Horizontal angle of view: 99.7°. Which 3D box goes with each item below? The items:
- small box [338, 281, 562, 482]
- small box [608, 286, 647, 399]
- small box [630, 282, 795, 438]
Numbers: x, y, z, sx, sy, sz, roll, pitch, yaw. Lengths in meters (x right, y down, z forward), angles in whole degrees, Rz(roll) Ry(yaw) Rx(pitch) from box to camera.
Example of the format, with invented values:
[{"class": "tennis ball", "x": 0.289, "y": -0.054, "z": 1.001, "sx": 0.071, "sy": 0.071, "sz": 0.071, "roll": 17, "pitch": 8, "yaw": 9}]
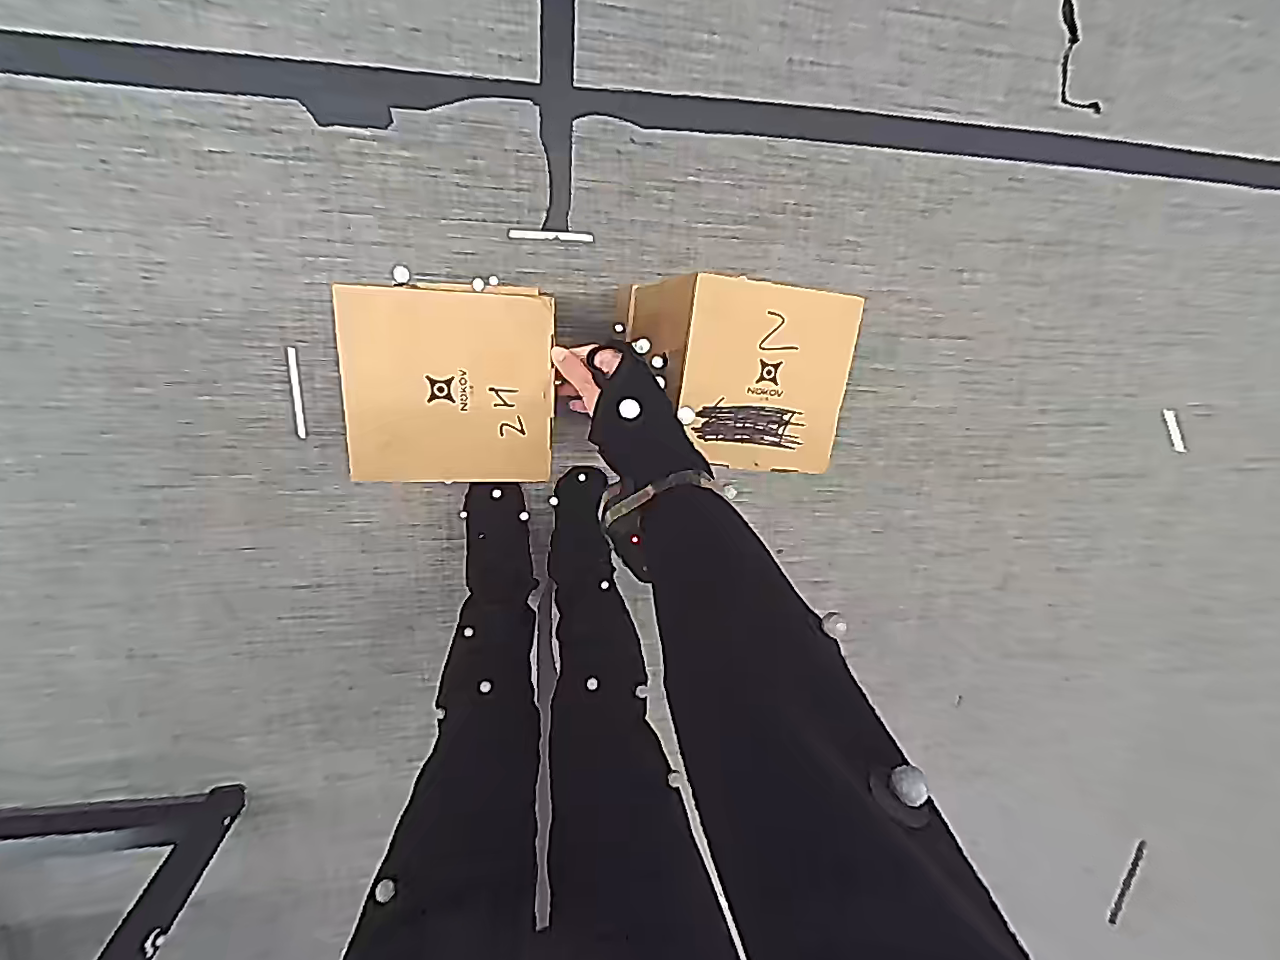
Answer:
[{"class": "small box", "x": -0.172, "y": -0.100, "z": 0.534, "sx": 0.179, "sy": 0.176, "sz": 0.168, "roll": 0, "pitch": 108, "yaw": -13}, {"class": "small box", "x": 0.053, "y": -0.220, "z": 0.887, "sx": 0.179, "sy": 0.176, "sz": 0.168, "roll": 4, "pitch": 107, "yaw": -13}, {"class": "small box", "x": 0.085, "y": -0.165, "z": 0.735, "sx": 0.168, "sy": 0.176, "sz": 0.179, "roll": 3, "pitch": 106, "yaw": -12}]
